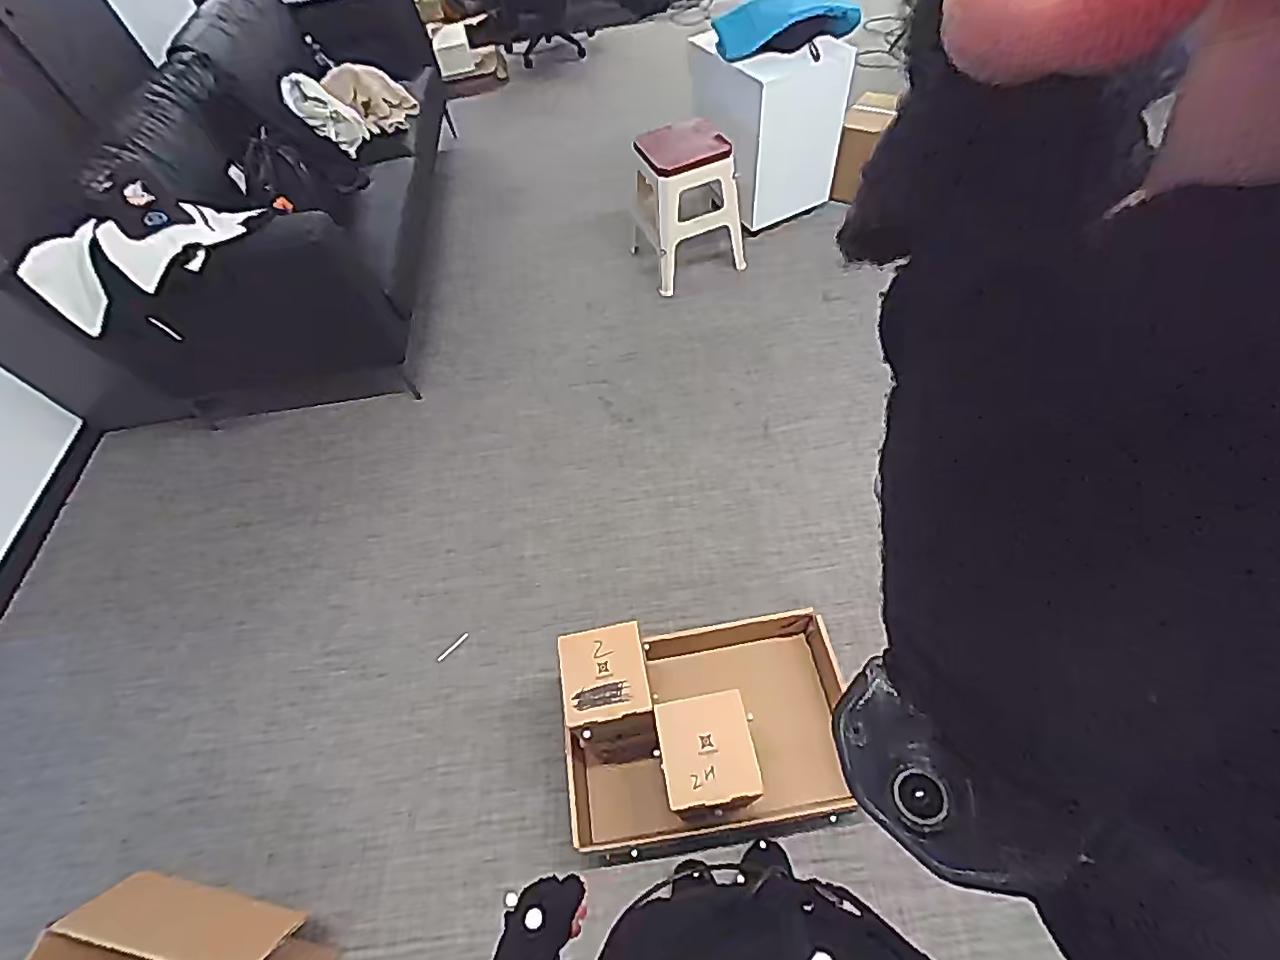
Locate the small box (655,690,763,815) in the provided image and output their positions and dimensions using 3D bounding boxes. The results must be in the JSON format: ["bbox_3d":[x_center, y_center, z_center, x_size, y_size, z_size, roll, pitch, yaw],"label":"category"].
[{"bbox_3d":[0.124,0.518,1.024,0.168,0.176,0.179,-10,56,0],"label":"small box"}]
